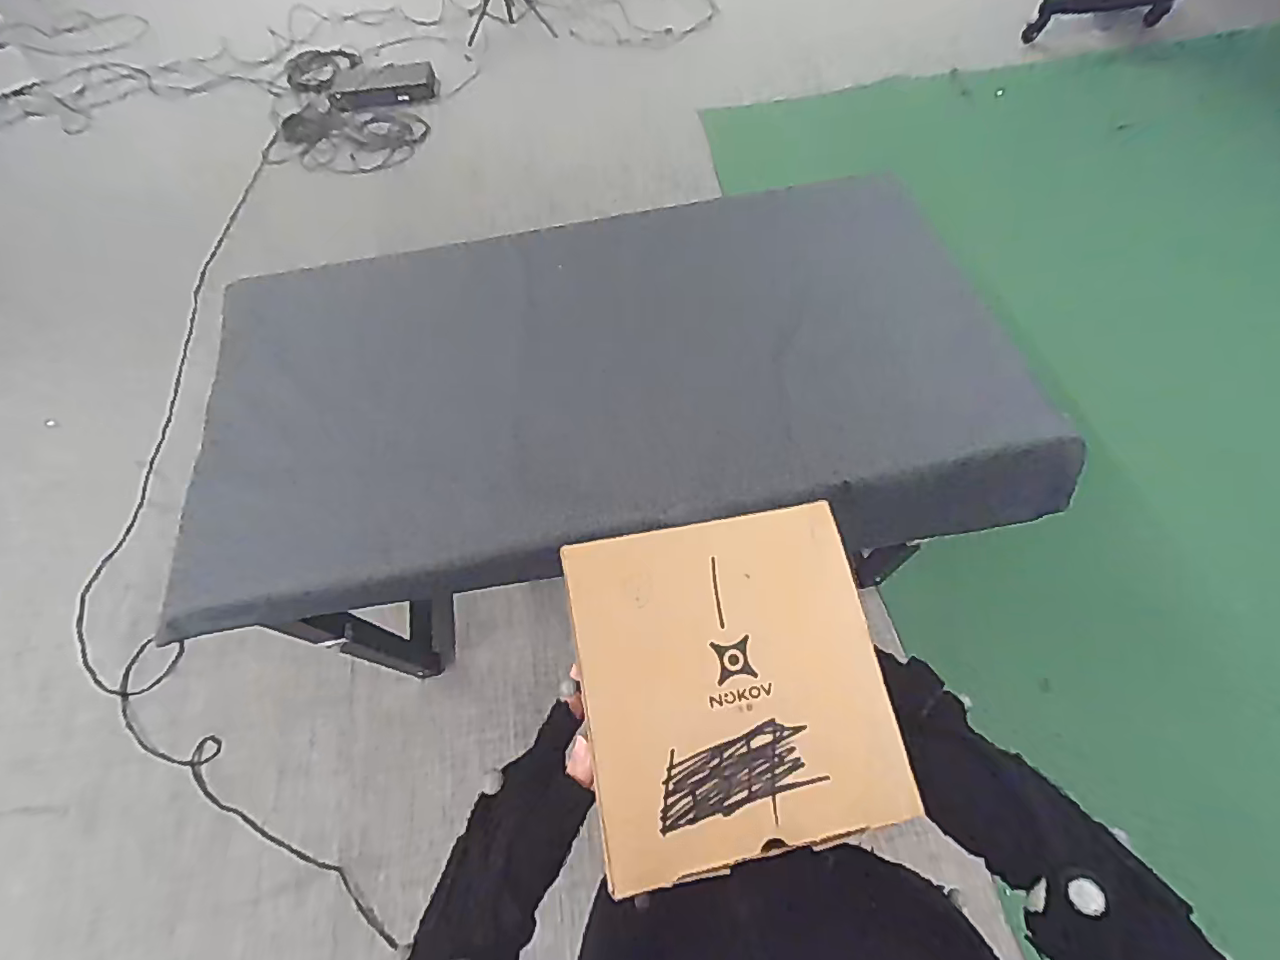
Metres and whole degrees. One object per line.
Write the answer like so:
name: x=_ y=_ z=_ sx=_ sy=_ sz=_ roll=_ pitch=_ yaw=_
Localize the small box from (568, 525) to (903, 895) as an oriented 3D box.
small box: x=0.043 y=0.144 z=0.381 sx=0.168 sy=0.176 sz=0.179 roll=-7 pitch=71 yaw=-9
